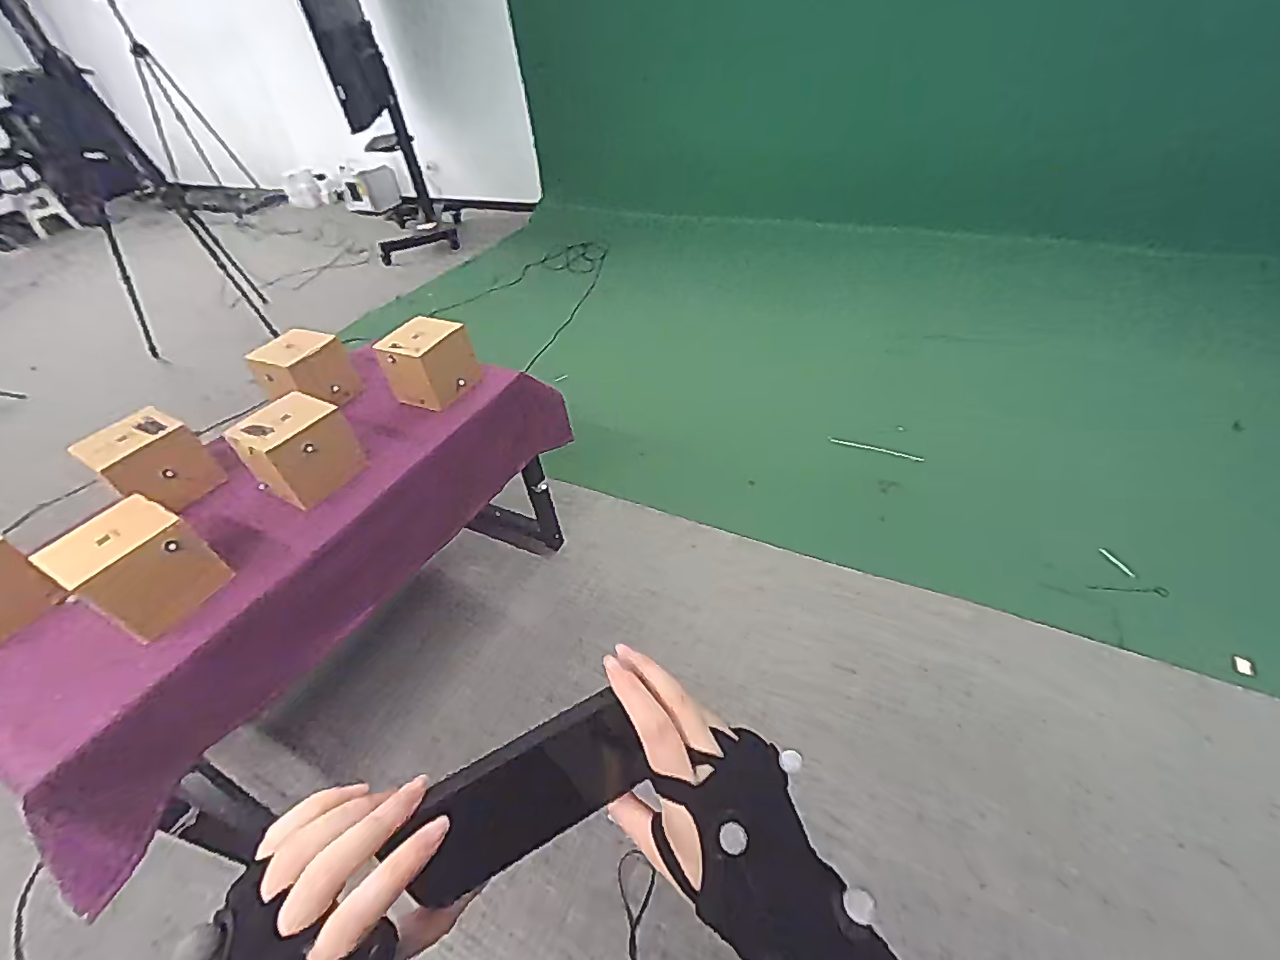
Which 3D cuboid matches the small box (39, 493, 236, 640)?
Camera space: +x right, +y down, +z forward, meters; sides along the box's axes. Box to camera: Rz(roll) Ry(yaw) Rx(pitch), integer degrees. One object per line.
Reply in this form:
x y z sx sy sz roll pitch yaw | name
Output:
-0.904 0.159 0.989 0.168 0.176 0.179 17 47 25 | small box

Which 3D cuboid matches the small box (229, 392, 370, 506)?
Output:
-0.752 -0.068 1.212 0.168 0.176 0.179 19 48 26 | small box

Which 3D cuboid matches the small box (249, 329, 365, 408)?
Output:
-0.895 -0.288 1.467 0.179 0.176 0.168 15 47 22 | small box

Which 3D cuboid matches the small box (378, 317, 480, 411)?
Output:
-0.551 -0.310 1.444 0.168 0.176 0.179 15 47 23 | small box
